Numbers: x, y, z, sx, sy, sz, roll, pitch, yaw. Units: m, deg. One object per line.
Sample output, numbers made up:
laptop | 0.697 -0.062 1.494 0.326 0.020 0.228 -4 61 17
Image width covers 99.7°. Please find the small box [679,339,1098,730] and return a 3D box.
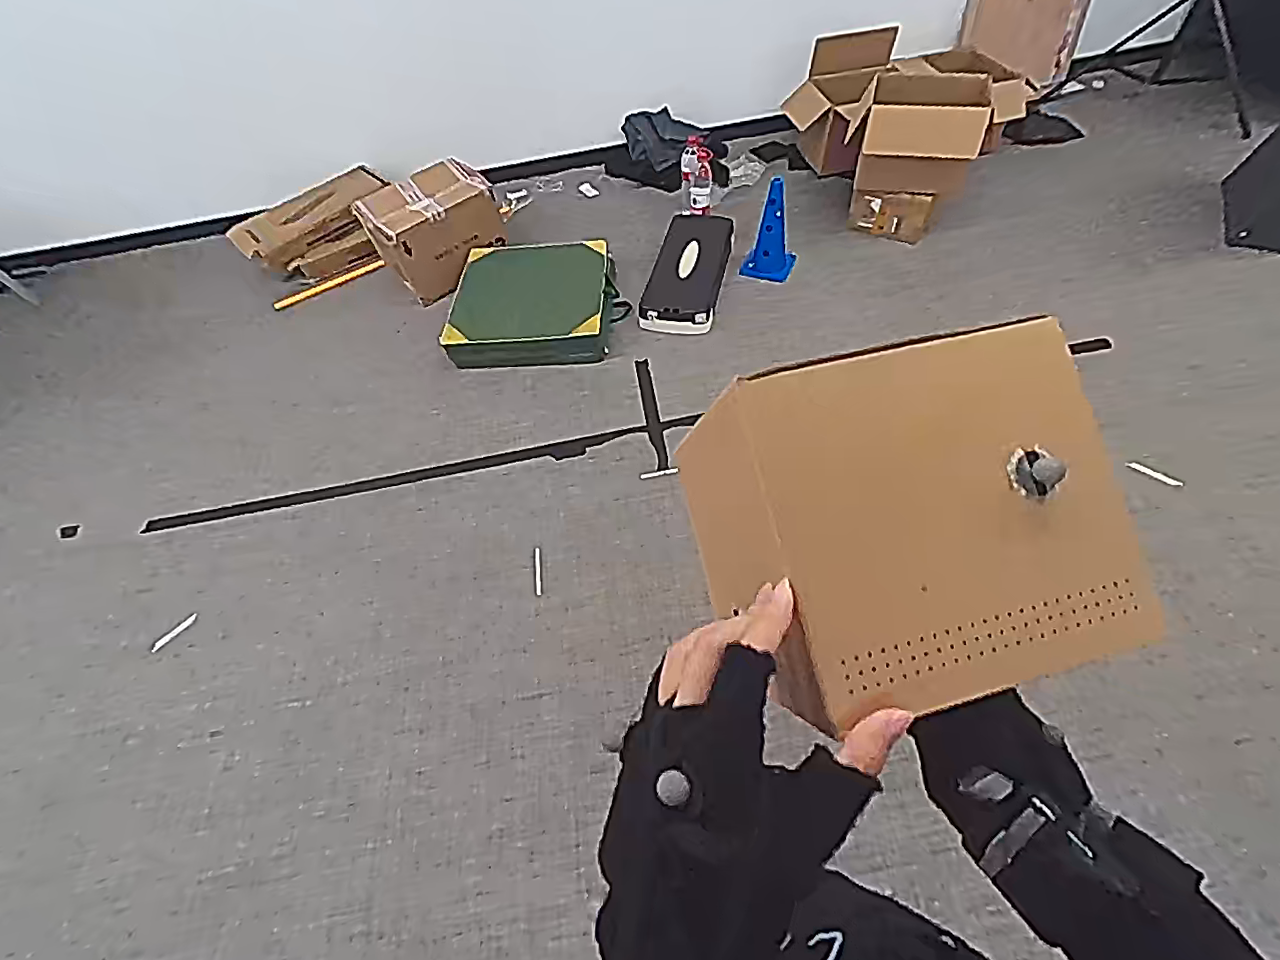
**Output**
small box | 0.139 0.033 0.347 0.179 0.168 0.176 -13 82 -8
